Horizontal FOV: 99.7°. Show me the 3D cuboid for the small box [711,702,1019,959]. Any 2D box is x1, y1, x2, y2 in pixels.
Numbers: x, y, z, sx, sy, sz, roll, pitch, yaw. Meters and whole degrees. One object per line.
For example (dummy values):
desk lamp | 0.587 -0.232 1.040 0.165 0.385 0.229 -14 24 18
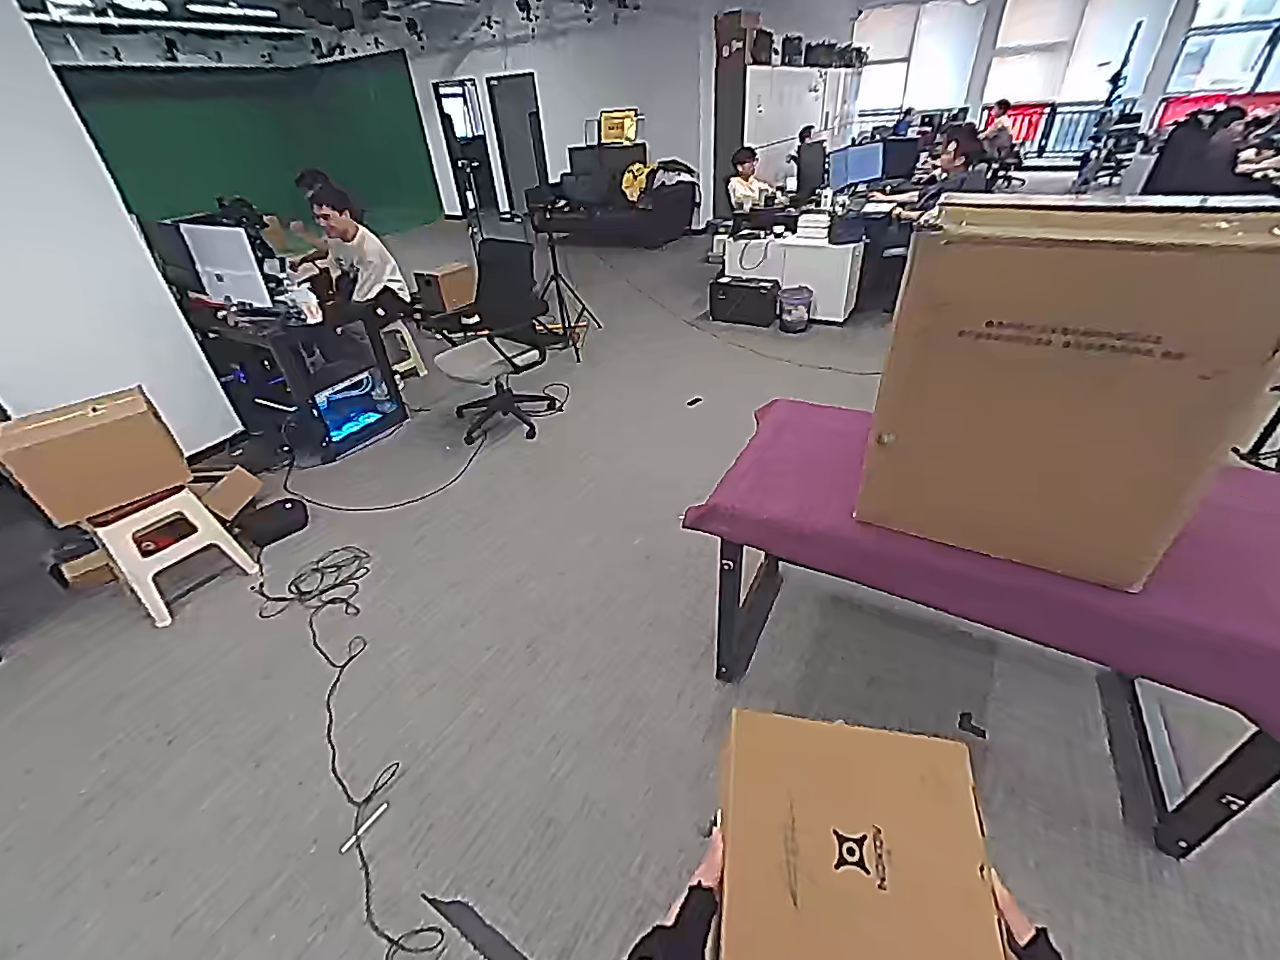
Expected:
small box | 0.153 0.294 0.425 0.179 0.176 0.168 4 51 8
